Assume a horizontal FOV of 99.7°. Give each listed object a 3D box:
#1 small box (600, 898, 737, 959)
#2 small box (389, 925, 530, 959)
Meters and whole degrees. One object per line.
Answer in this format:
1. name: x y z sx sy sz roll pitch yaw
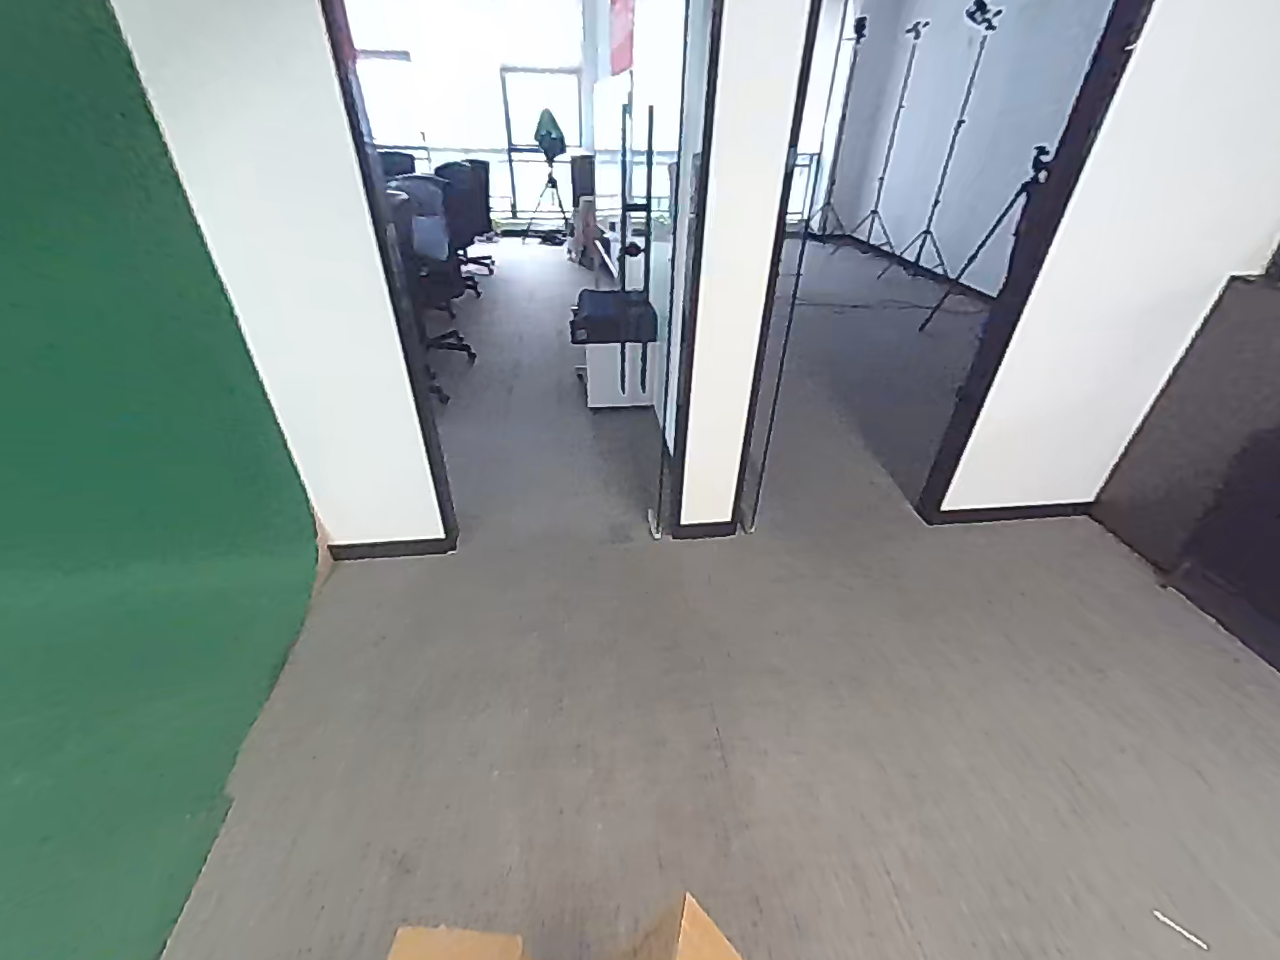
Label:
1. small box: 0.024 0.484 0.408 0.168 0.176 0.179 -45 77 1
2. small box: -0.246 0.719 0.704 0.179 0.176 0.168 3 34 3
